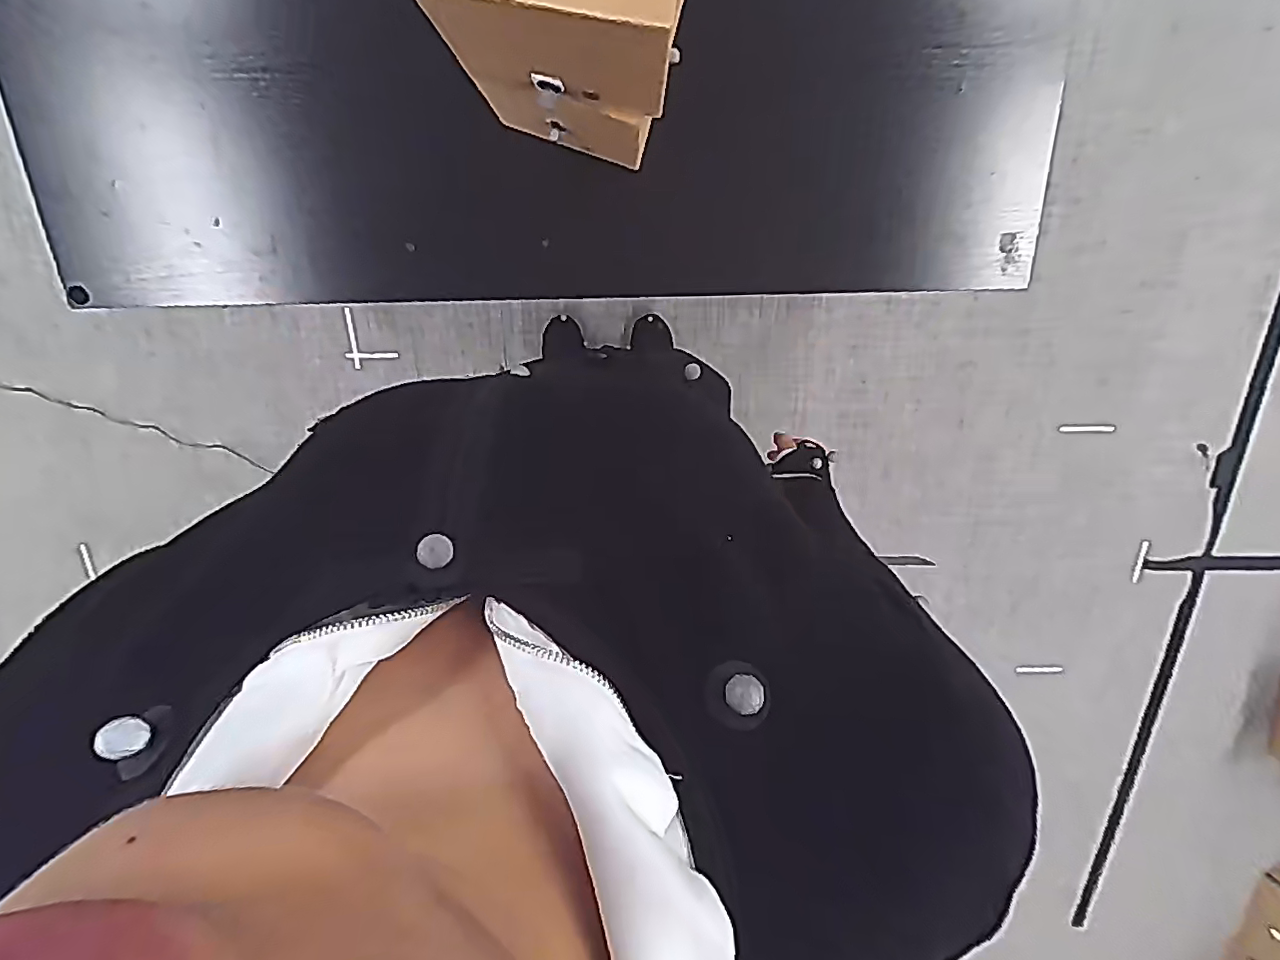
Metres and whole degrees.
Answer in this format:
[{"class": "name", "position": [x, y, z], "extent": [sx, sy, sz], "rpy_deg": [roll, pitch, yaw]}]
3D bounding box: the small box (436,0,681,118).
[{"class": "small box", "position": [-0.047, -0.395, 0.385], "extent": [0.168, 0.176, 0.179], "rpy_deg": [7, 108, -2]}]

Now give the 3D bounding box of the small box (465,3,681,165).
[{"class": "small box", "position": [-0.055, -0.446, 0.540], "extent": [0.168, 0.176, 0.179], "rpy_deg": [16, 106, -7]}]
